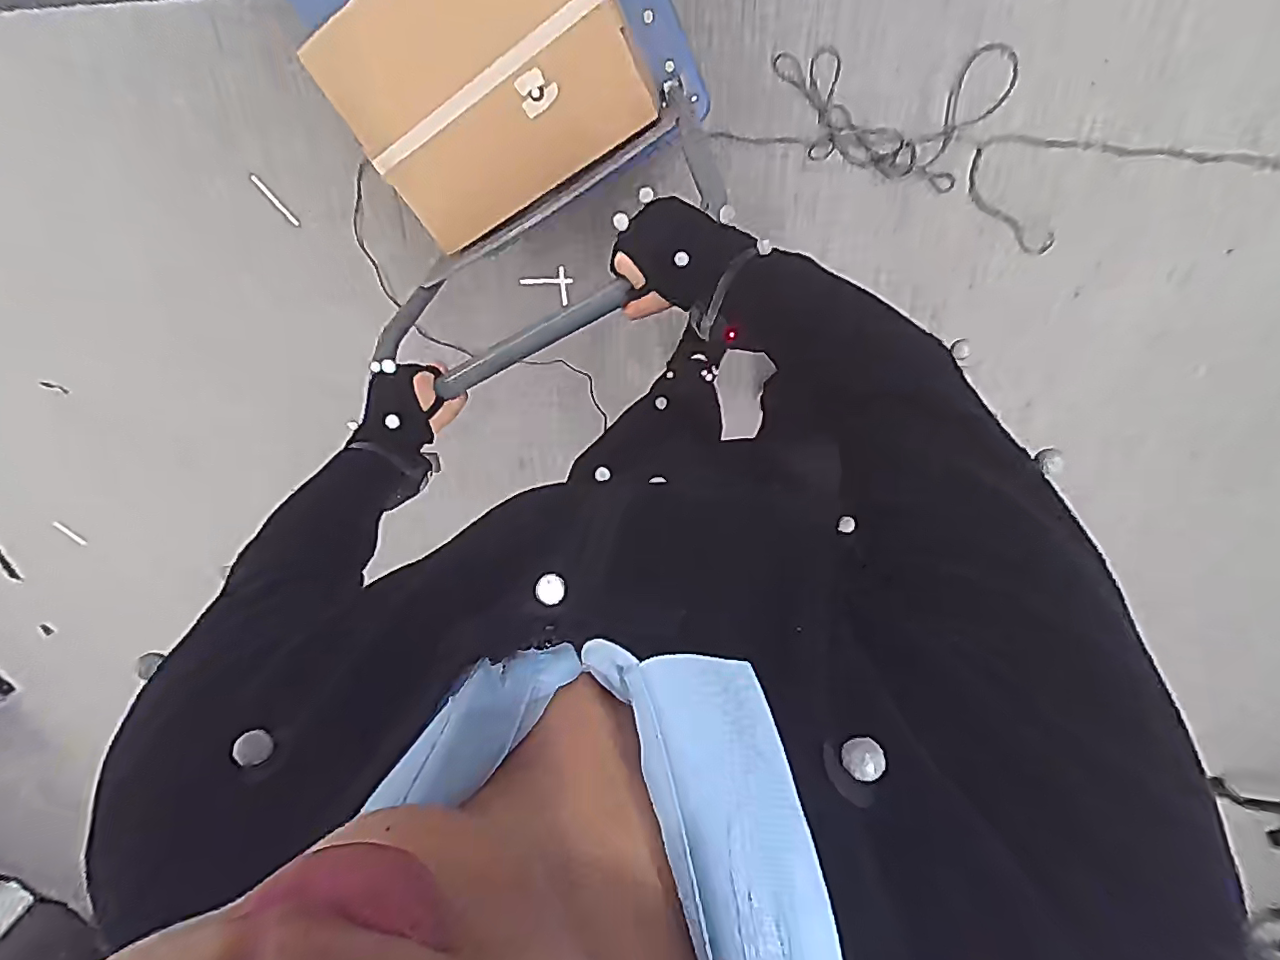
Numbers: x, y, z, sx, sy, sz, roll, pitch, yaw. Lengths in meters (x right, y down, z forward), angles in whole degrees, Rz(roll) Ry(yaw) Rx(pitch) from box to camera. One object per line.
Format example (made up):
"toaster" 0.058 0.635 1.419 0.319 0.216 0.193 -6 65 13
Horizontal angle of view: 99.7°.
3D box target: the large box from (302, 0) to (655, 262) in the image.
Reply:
"large box" -0.221 -0.631 0.874 0.408 0.320 0.320 -24 124 19
